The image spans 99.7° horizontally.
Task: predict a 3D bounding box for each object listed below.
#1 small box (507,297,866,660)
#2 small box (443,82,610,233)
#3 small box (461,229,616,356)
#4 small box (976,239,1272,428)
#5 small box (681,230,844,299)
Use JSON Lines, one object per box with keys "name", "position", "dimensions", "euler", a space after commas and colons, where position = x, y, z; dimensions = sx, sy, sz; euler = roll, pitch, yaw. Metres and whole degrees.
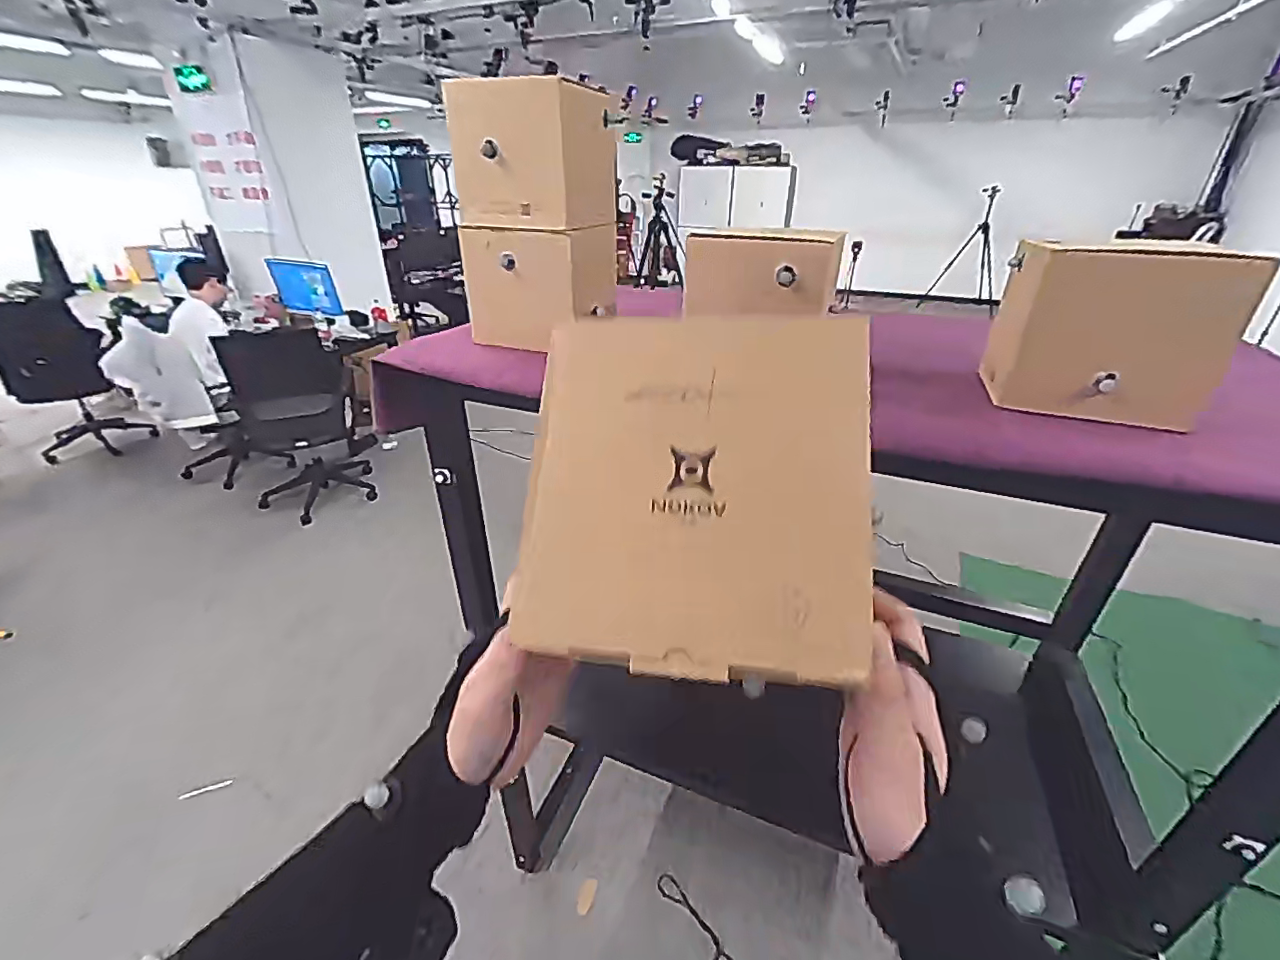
{"name": "small box", "position": [0.038, 0.009, 0.339], "dimensions": [0.168, 0.179, 0.176], "euler": [3, -15, 11]}
{"name": "small box", "position": [-0.144, -0.441, 0.764], "dimensions": [0.168, 0.176, 0.179], "euler": [9, 29, 16]}
{"name": "small box", "position": [-0.147, -0.296, 0.837], "dimensions": [0.179, 0.176, 0.168], "euler": [11, 30, 17]}
{"name": "small box", "position": [0.504, -0.168, 0.602], "dimensions": [0.179, 0.176, 0.168], "euler": [12, 29, 20]}
{"name": "small box", "position": [0.163, -0.239, 0.734], "dimensions": [0.179, 0.176, 0.168], "euler": [12, 29, 21]}
